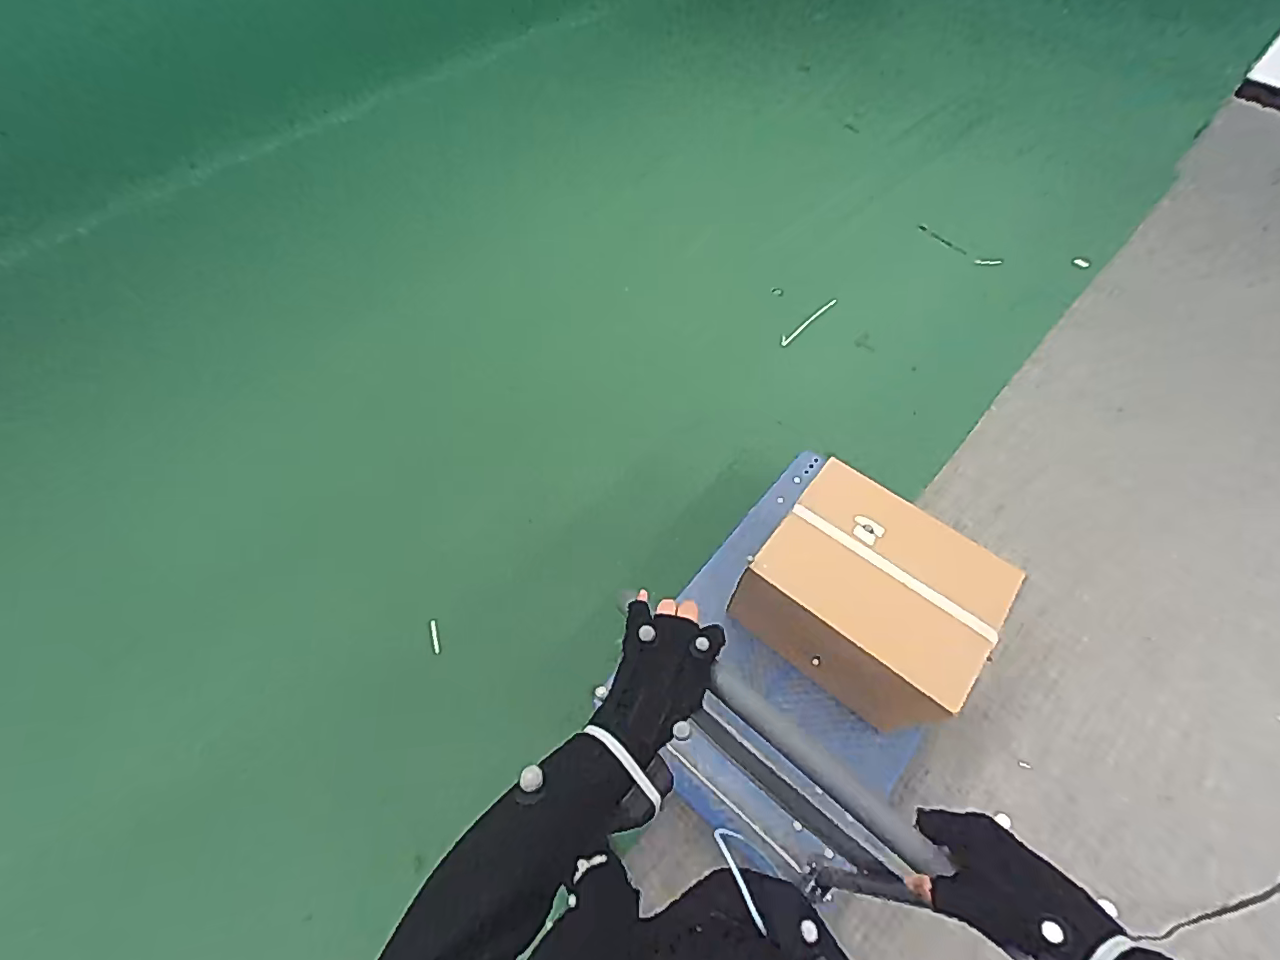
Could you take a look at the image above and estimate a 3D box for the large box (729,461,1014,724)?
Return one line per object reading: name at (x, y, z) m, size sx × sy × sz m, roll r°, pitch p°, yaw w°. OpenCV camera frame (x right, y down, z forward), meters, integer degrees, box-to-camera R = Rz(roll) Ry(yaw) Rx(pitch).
large box at (0.449, 0.240, 1.132) m, size 0.408 × 0.320 × 0.320 m, roll 35°, pitch 66°, yaw 19°
